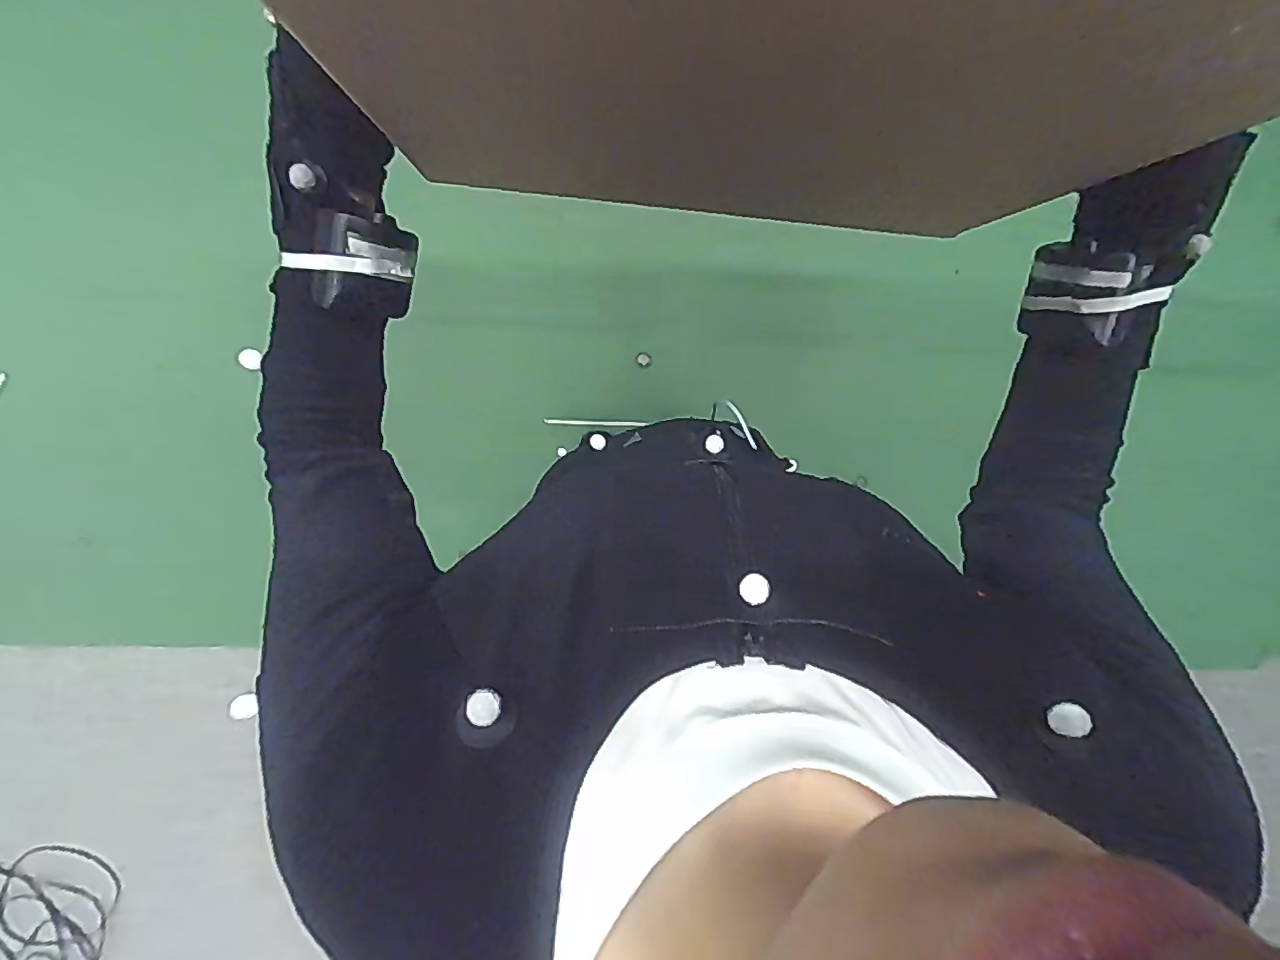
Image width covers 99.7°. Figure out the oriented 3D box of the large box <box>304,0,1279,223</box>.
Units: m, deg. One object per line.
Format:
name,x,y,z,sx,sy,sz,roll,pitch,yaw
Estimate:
large box,0.070,-0.327,0.230,0.408,0.320,0.320,4,102,-6
